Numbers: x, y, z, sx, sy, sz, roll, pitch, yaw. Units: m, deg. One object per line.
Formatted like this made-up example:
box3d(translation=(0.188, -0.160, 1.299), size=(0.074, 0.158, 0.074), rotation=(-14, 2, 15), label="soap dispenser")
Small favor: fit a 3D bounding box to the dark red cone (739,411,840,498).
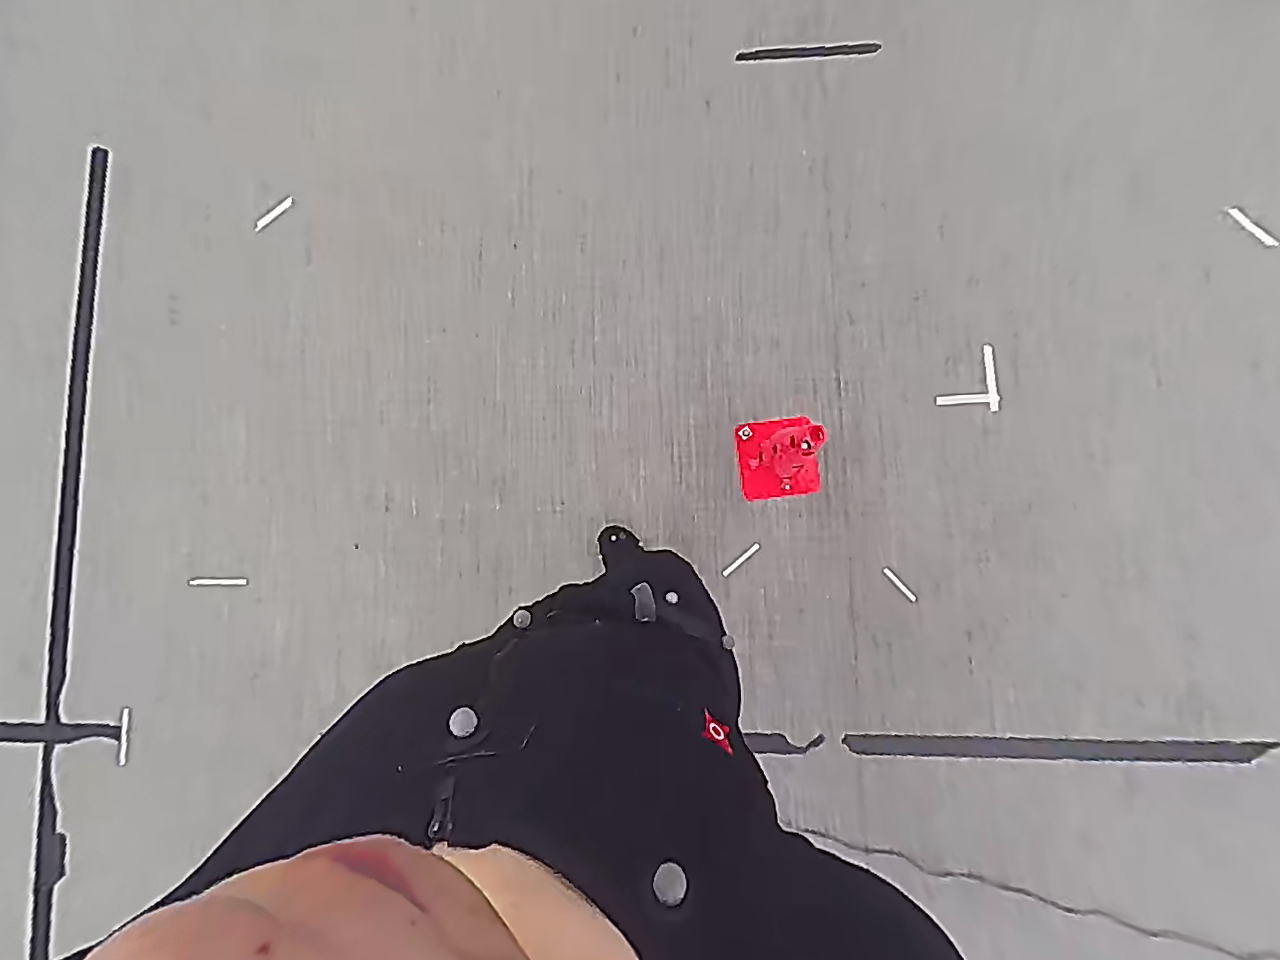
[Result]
box3d(translation=(0.347, -0.075, 1.174), size=(0.202, 0.394, 0.201), rotation=(-8, 85, 1), label="dark red cone")
